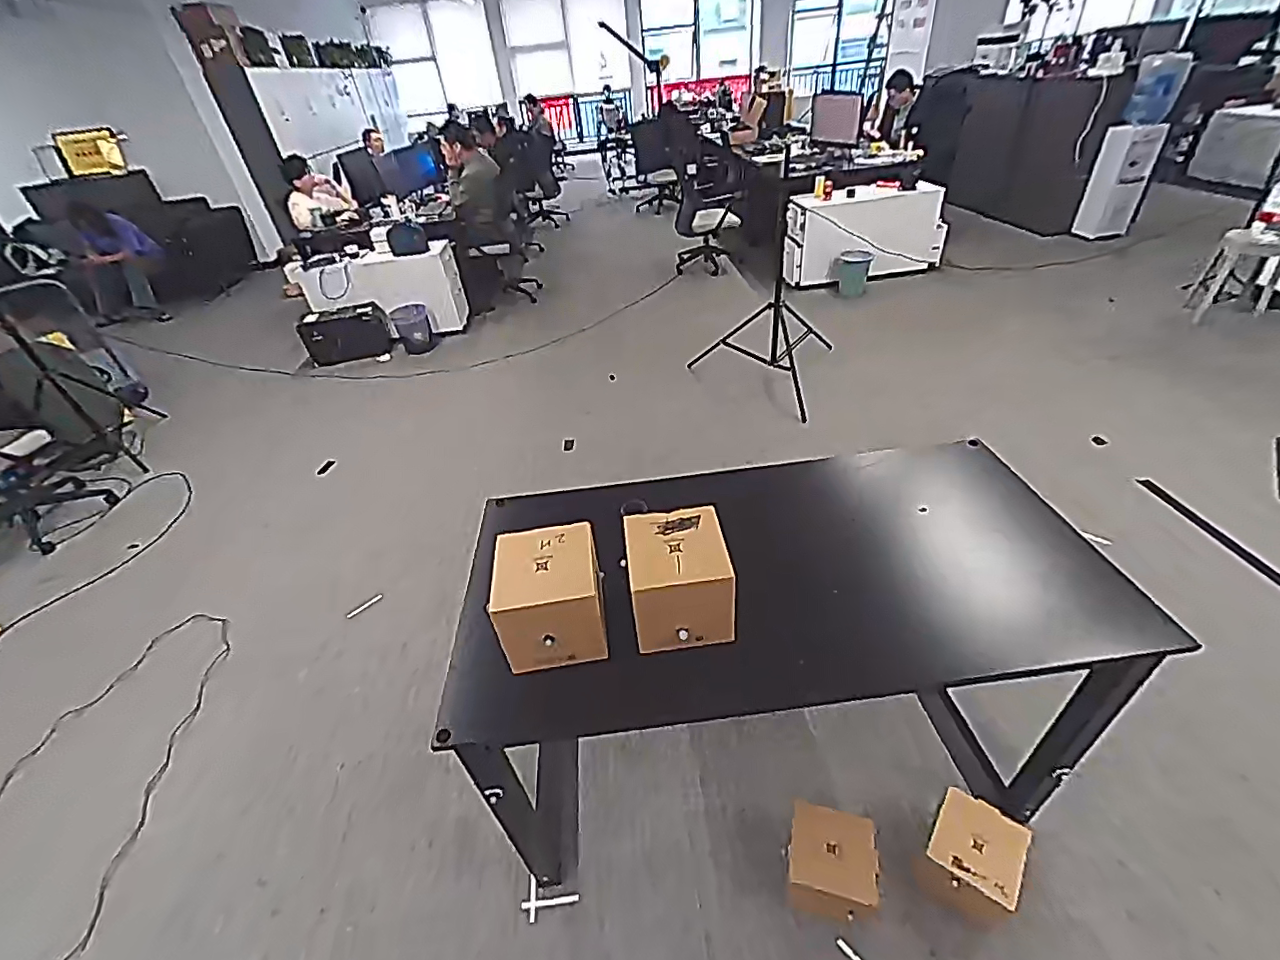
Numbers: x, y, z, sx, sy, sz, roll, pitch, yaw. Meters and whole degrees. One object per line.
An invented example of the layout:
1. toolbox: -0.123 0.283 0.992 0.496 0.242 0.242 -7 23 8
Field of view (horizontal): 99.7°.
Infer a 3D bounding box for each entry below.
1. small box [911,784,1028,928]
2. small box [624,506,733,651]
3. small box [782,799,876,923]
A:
1. small box: 0.721 0.828 1.195 0.168 0.176 0.179 22 47 33
2. small box: 0.064 0.171 0.951 0.168 0.176 0.179 -8 38 -1
3. small box: 0.419 0.856 1.212 0.179 0.176 0.168 5 39 17
